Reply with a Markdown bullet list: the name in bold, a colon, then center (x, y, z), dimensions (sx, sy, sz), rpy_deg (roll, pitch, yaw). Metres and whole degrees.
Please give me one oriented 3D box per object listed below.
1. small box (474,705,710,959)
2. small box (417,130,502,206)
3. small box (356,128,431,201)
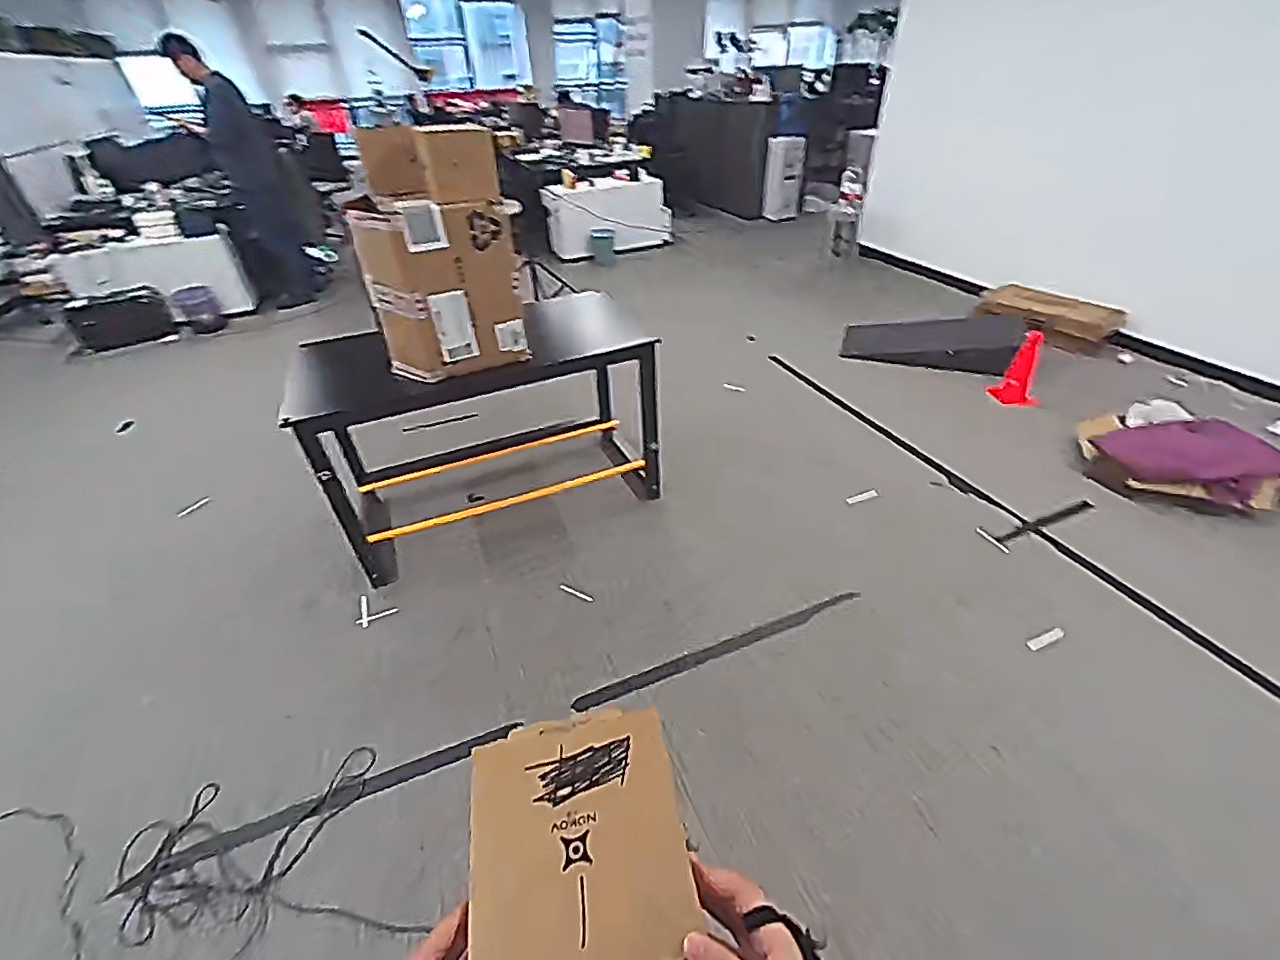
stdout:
- **small box**: center (-0.043, 0.336, 0.482), dimensions (0.168, 0.176, 0.179), rpy_deg (-11, 44, -6)
- **small box**: center (-0.502, -0.873, 1.512), dimensions (0.179, 0.176, 0.168), rpy_deg (-18, 39, -21)
- **small box**: center (-0.725, -0.943, 1.611), dimensions (0.179, 0.176, 0.168), rpy_deg (-18, 37, -20)
